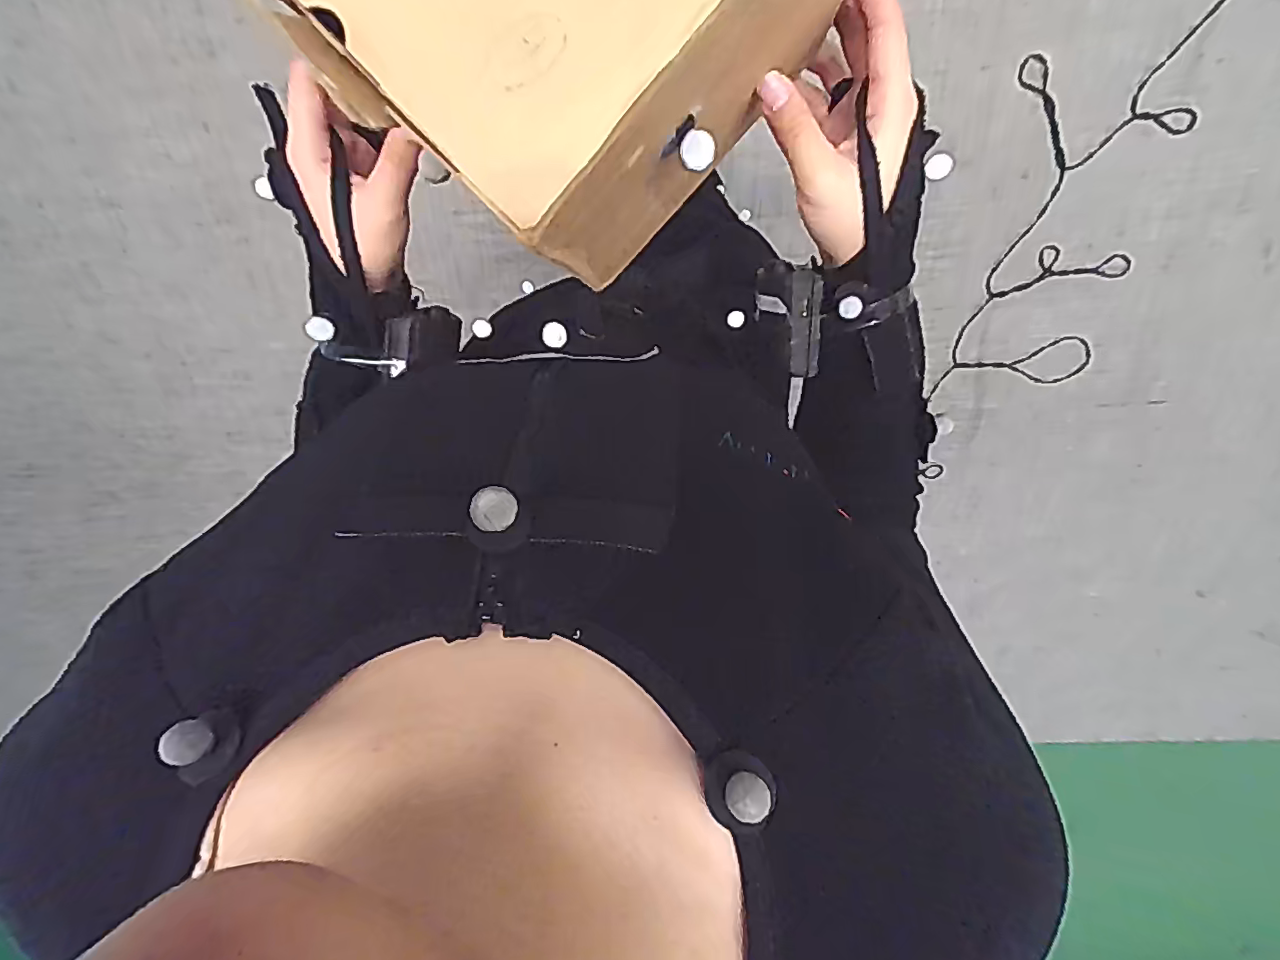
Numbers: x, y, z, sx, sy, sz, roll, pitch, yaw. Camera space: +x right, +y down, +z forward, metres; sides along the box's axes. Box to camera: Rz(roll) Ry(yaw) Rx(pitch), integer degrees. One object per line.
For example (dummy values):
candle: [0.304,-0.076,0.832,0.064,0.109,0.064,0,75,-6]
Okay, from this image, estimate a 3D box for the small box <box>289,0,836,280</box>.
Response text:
small box: [-0.023,-0.212,0.235,0.168,0.176,0.179,44,103,-7]
